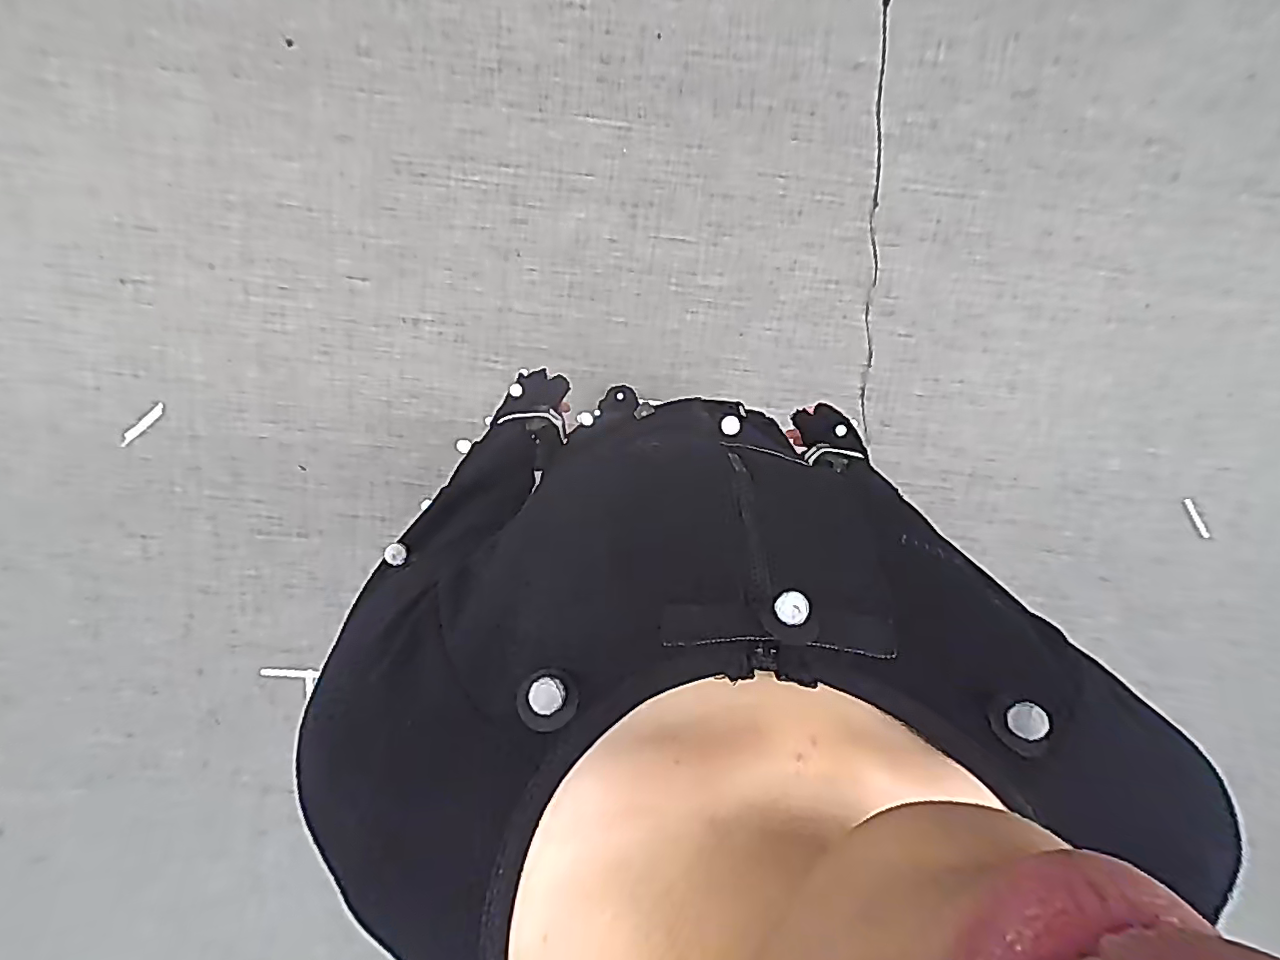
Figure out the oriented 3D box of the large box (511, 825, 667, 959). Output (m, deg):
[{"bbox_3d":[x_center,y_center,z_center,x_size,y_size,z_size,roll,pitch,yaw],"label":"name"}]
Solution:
[{"bbox_3d":[-0.145,1.253,1.556,0.408,0.320,0.320,6,99,-2],"label":"large box"}]
